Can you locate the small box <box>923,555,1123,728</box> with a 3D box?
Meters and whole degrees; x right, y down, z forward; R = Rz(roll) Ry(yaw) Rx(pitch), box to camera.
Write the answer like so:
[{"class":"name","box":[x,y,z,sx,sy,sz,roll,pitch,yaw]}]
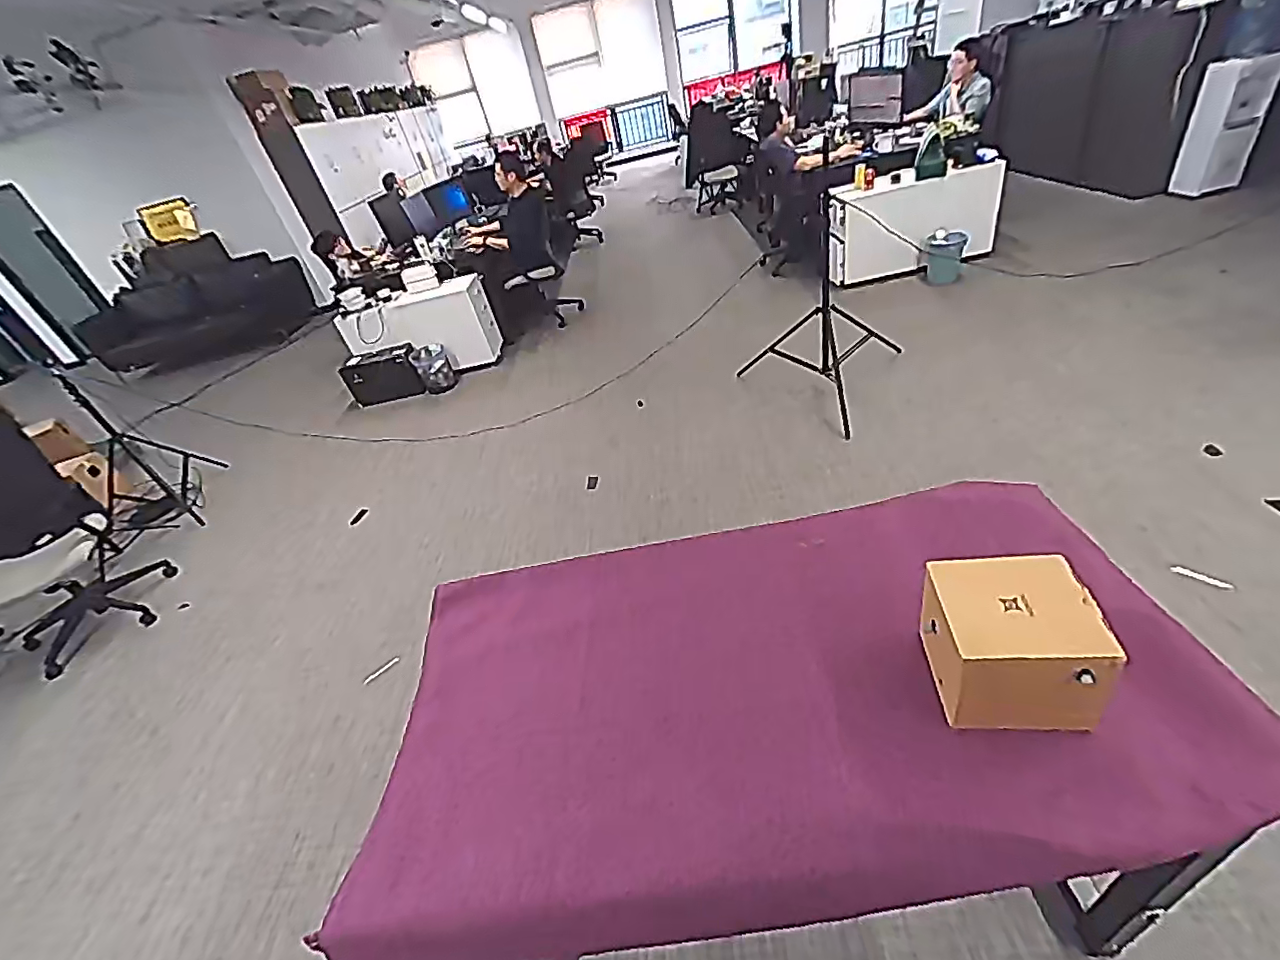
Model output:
[{"class":"small box","box":[0.507,0.226,0.752,0.179,0.176,0.168,-6,37,14]}]
